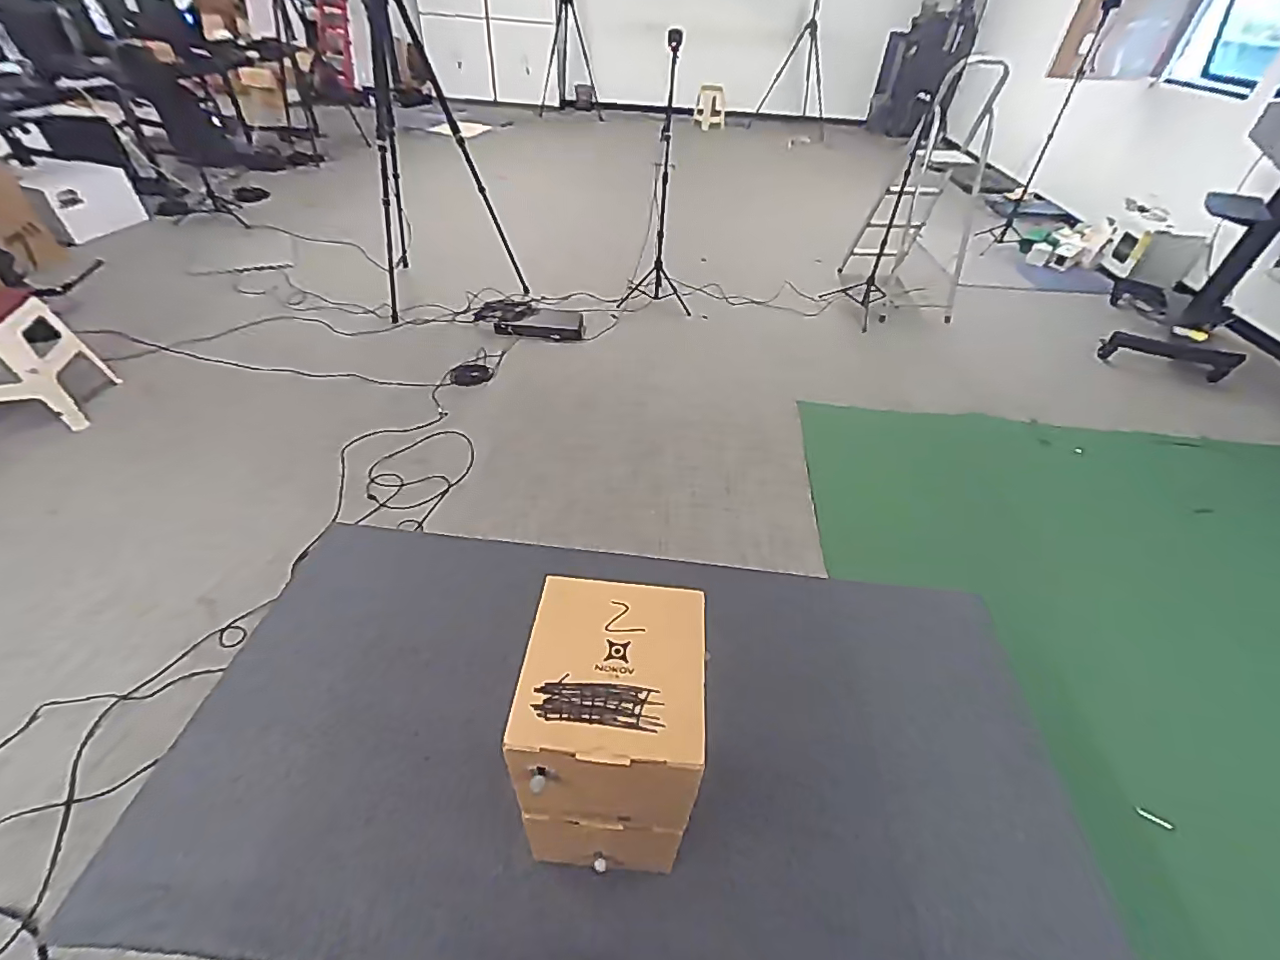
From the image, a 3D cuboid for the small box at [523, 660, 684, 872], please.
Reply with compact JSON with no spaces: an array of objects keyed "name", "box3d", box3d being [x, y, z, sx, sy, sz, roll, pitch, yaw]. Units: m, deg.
[{"name":"small box","box3d":[-0.039,0.349,0.663,0.168,0.176,0.179,5,43,1]}]
